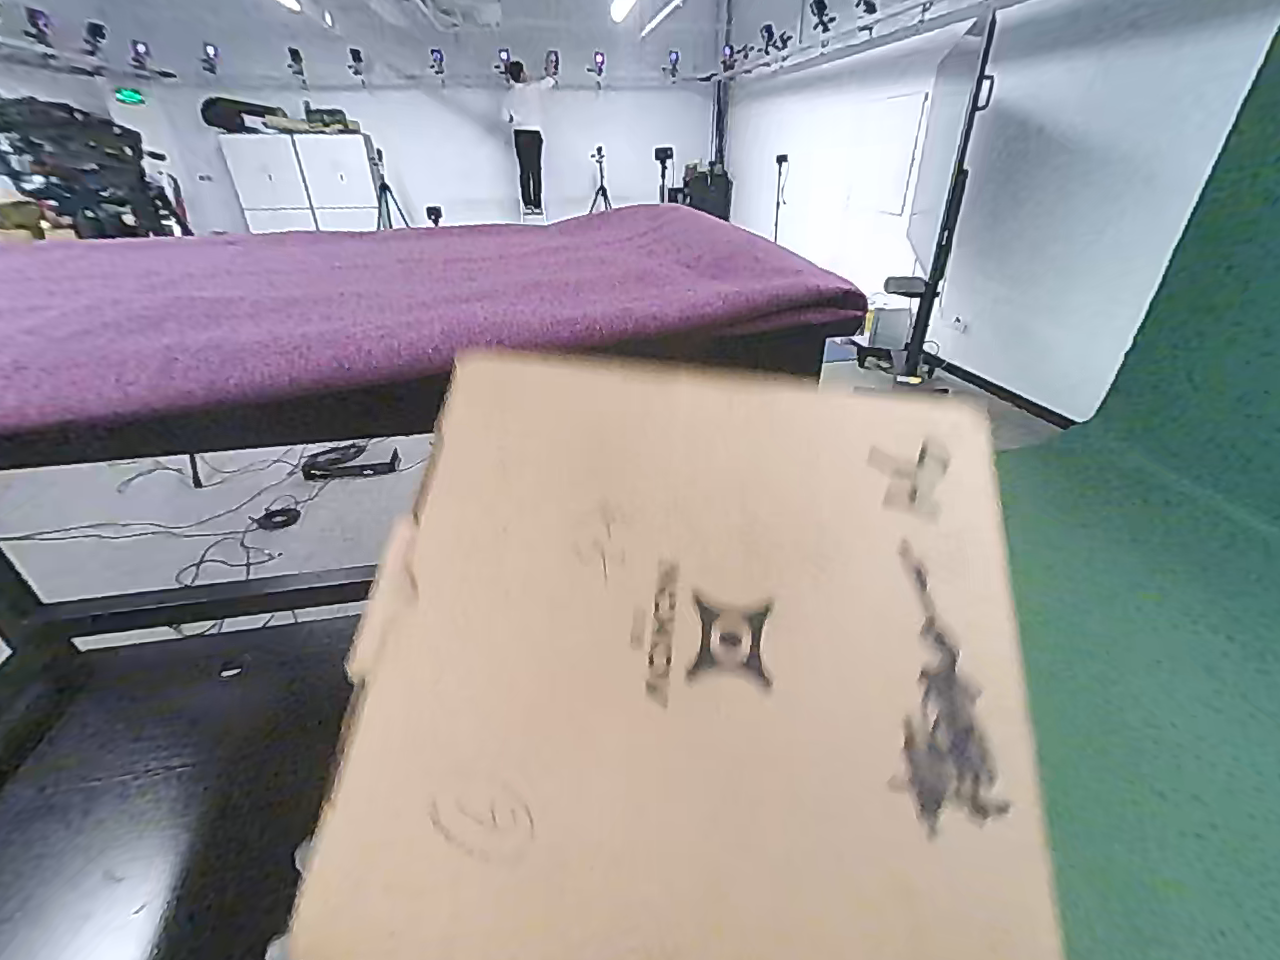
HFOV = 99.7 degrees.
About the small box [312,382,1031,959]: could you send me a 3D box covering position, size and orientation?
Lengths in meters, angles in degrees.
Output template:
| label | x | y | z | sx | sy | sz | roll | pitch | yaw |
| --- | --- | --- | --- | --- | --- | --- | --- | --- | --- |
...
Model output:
| label | x | y | z | sx | sy | sz | roll | pitch | yaw |
| --- | --- | --- | --- | --- | --- | --- | --- | --- | --- |
| small box | 0.016 | 0.080 | 0.230 | 0.179 | 0.176 | 0.168 | 7 | 68 | 3 |
